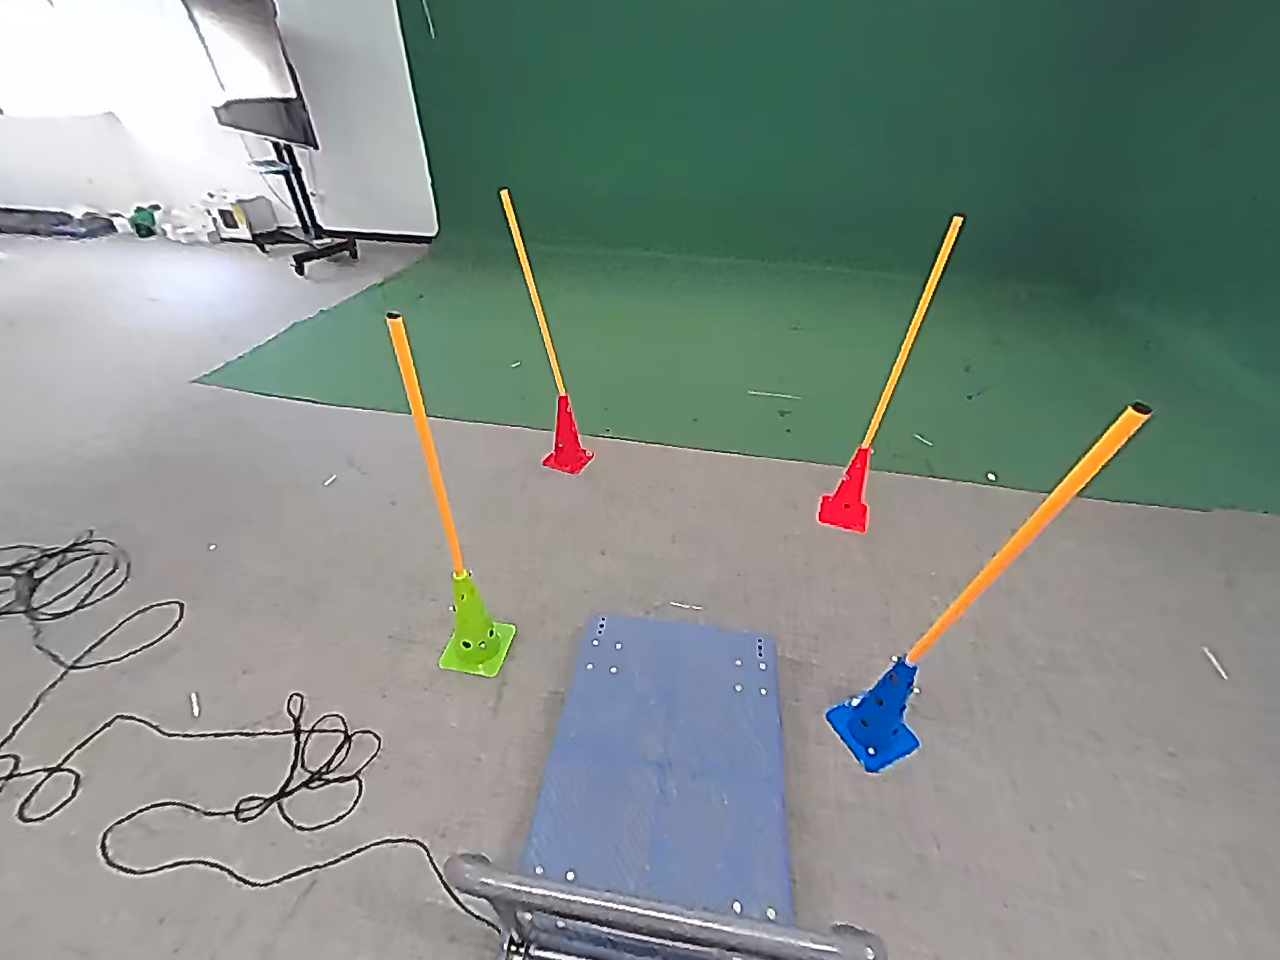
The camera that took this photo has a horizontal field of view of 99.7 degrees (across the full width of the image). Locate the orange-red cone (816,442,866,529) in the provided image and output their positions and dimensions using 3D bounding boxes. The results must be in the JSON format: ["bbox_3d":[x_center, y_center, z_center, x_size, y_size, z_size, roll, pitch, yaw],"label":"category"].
[{"bbox_3d":[0.878,0.001,2.251,0.198,0.360,0.199,14,41,17],"label":"orange-red cone"}]
